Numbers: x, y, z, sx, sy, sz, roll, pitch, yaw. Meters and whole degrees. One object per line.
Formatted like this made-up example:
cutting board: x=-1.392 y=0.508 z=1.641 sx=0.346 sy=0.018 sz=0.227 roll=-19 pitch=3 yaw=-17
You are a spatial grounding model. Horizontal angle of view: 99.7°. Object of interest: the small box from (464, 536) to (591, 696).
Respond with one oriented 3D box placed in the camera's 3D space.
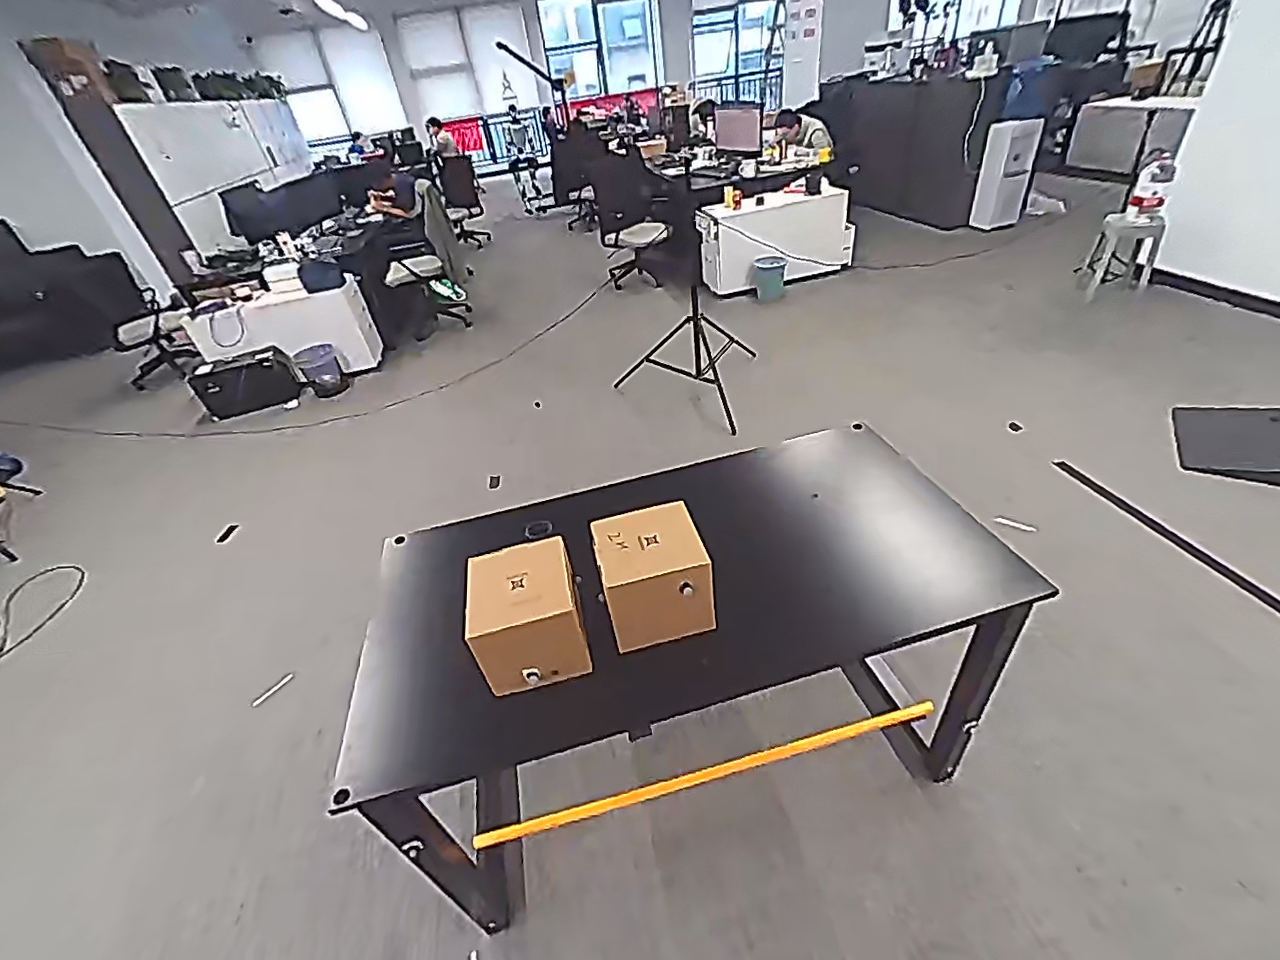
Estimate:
small box: x=-0.187 y=0.228 z=0.915 sx=0.168 sy=0.176 sz=0.179 roll=-15 pitch=38 yaw=-6
